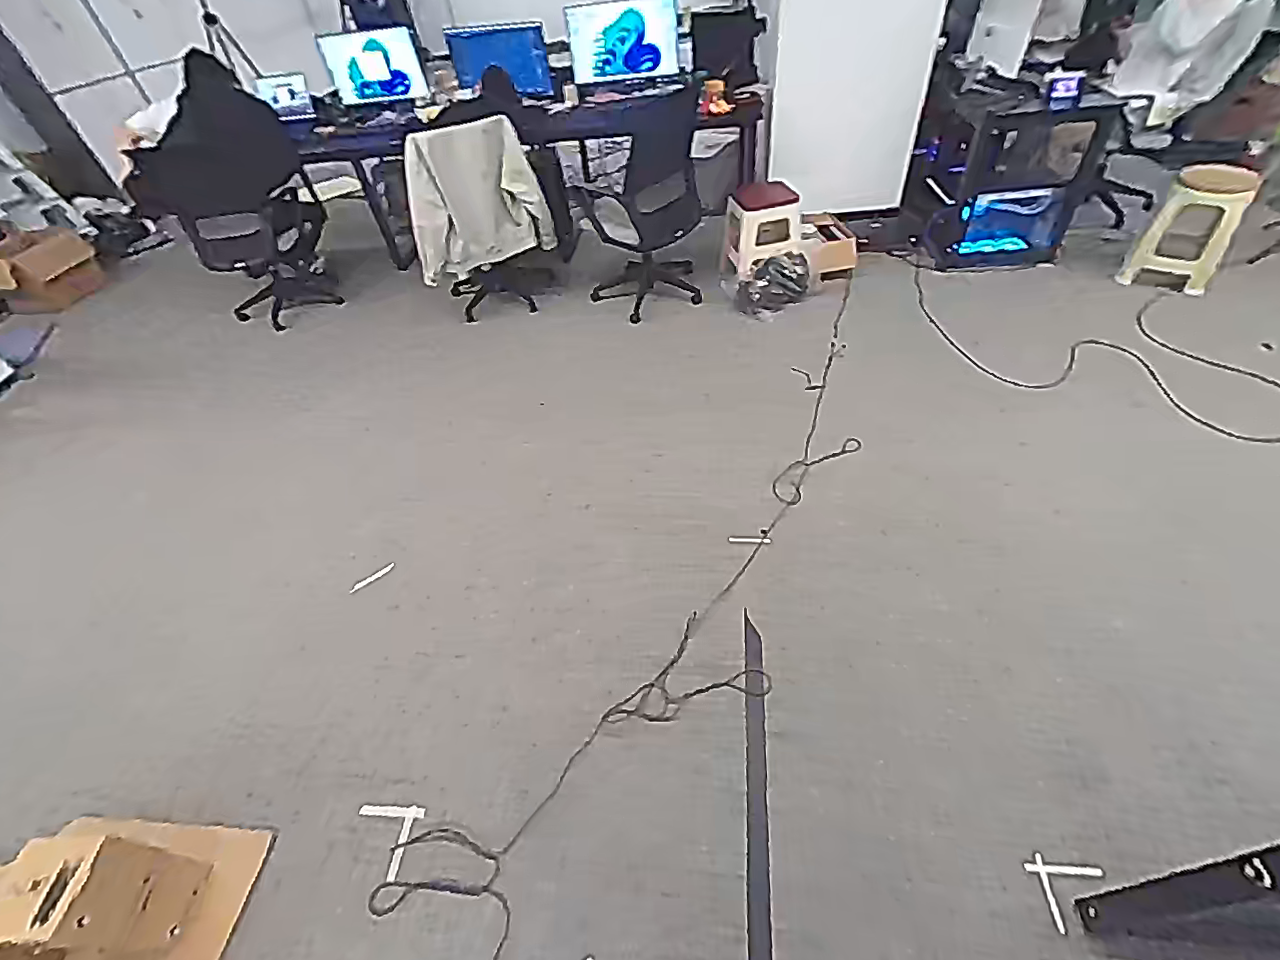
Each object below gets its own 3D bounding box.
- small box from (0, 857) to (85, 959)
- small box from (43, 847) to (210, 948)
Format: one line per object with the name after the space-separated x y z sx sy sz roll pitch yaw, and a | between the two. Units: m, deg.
-1.397 0.975 1.225 0.168 0.176 0.179 -4 47 5 | small box
-1.138 0.941 1.219 0.179 0.176 0.168 -4 46 5 | small box
